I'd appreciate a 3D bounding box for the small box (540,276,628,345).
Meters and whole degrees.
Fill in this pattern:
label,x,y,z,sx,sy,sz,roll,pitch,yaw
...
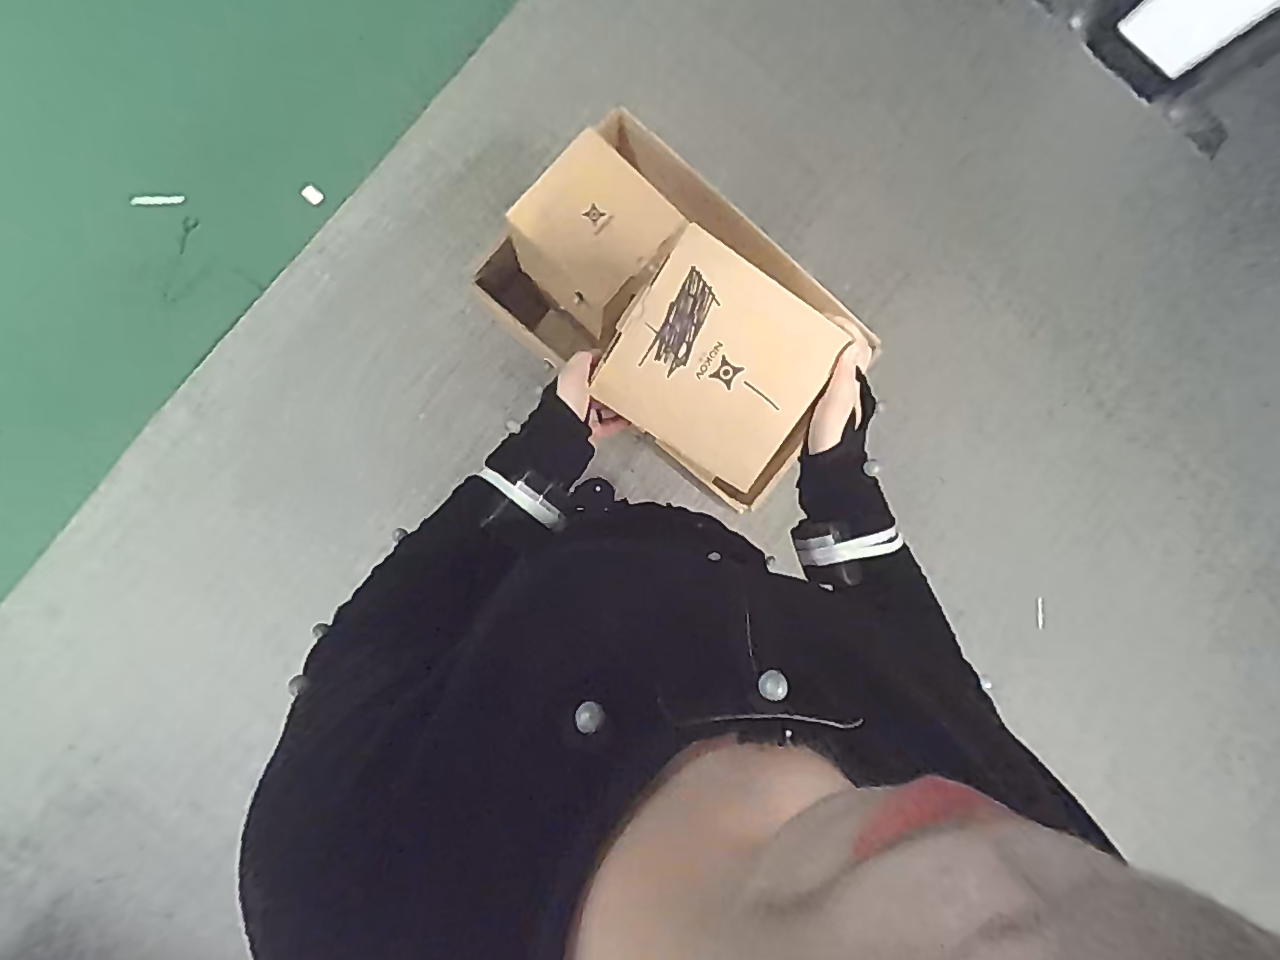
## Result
label,x,y,z,sx,sy,sz,roll,pitch,yaw
small box,-0.064,-0.360,0.944,0.179,0.176,0.168,42,87,-5

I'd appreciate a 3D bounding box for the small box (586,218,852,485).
label,x,y,z,sx,sy,sz,roll,pitch,yaw
small box,0.066,-0.123,0.541,0.179,0.176,0.168,31,103,-9

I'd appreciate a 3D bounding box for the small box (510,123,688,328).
label,x,y,z,sx,sy,sz,roll,pitch,yaw
small box,-0.060,-0.349,0.782,0.179,0.176,0.168,42,87,-5
